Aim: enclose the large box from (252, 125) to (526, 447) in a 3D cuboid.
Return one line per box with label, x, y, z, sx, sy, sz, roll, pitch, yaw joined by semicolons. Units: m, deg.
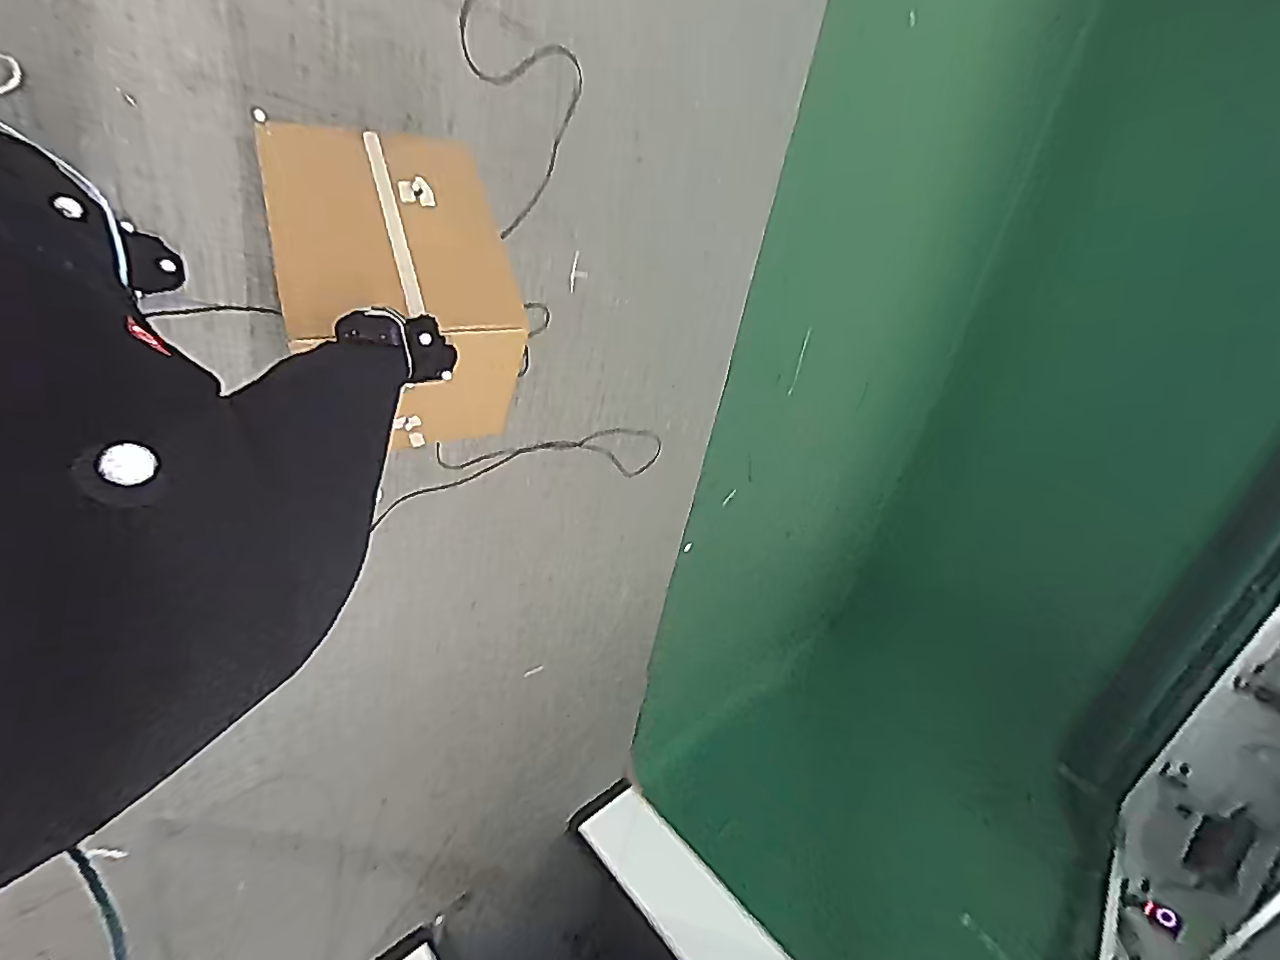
large box;-0.419;-0.320;0.934;0.320;0.408;0.320;-12;160;-26
